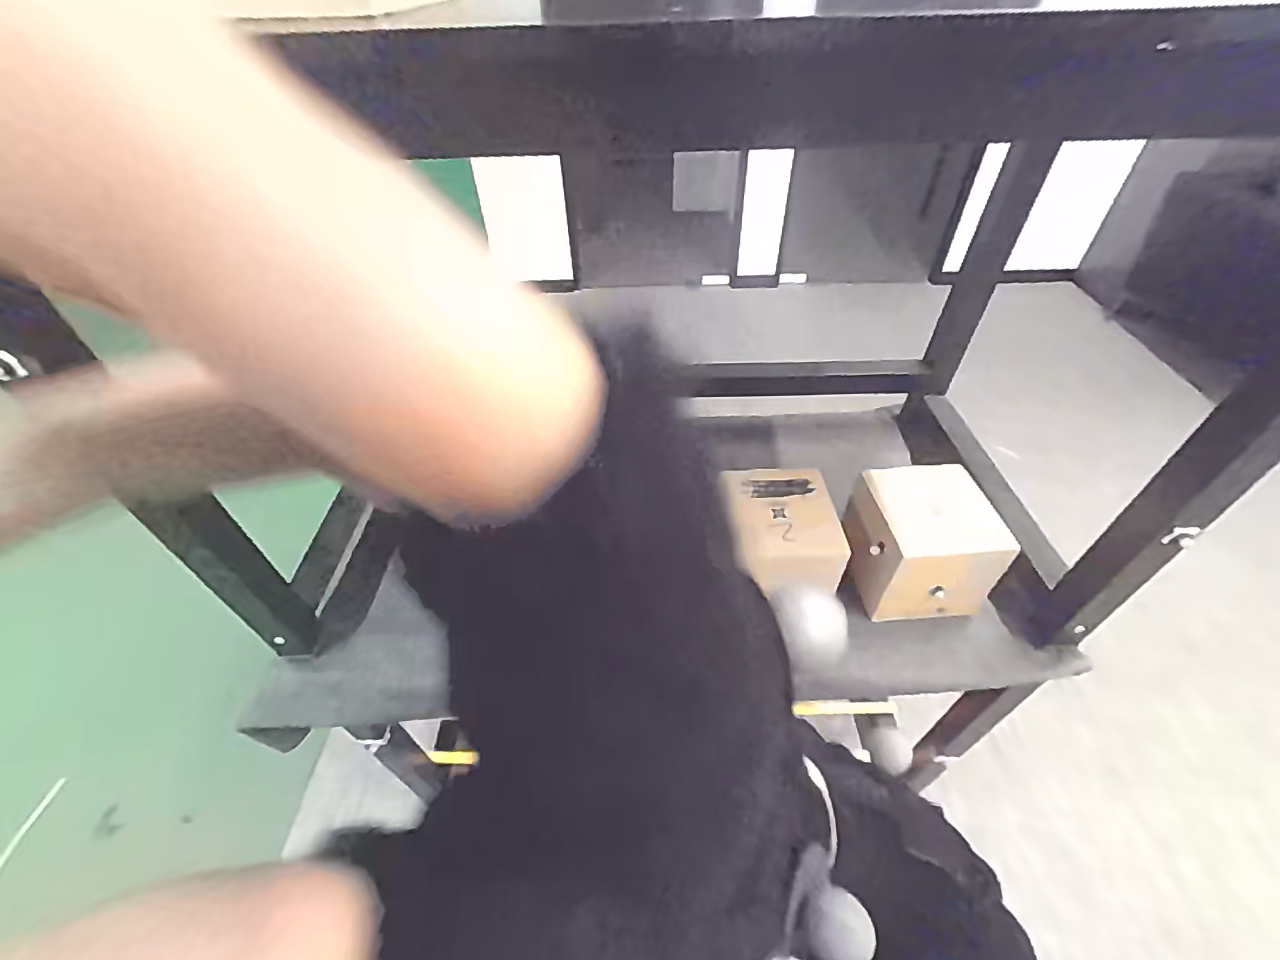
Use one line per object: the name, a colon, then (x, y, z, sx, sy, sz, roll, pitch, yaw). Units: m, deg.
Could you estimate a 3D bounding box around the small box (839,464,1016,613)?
small box: (0.435, 0.097, 0.854, 0.168, 0.176, 0.179, -4, 44, -2)
